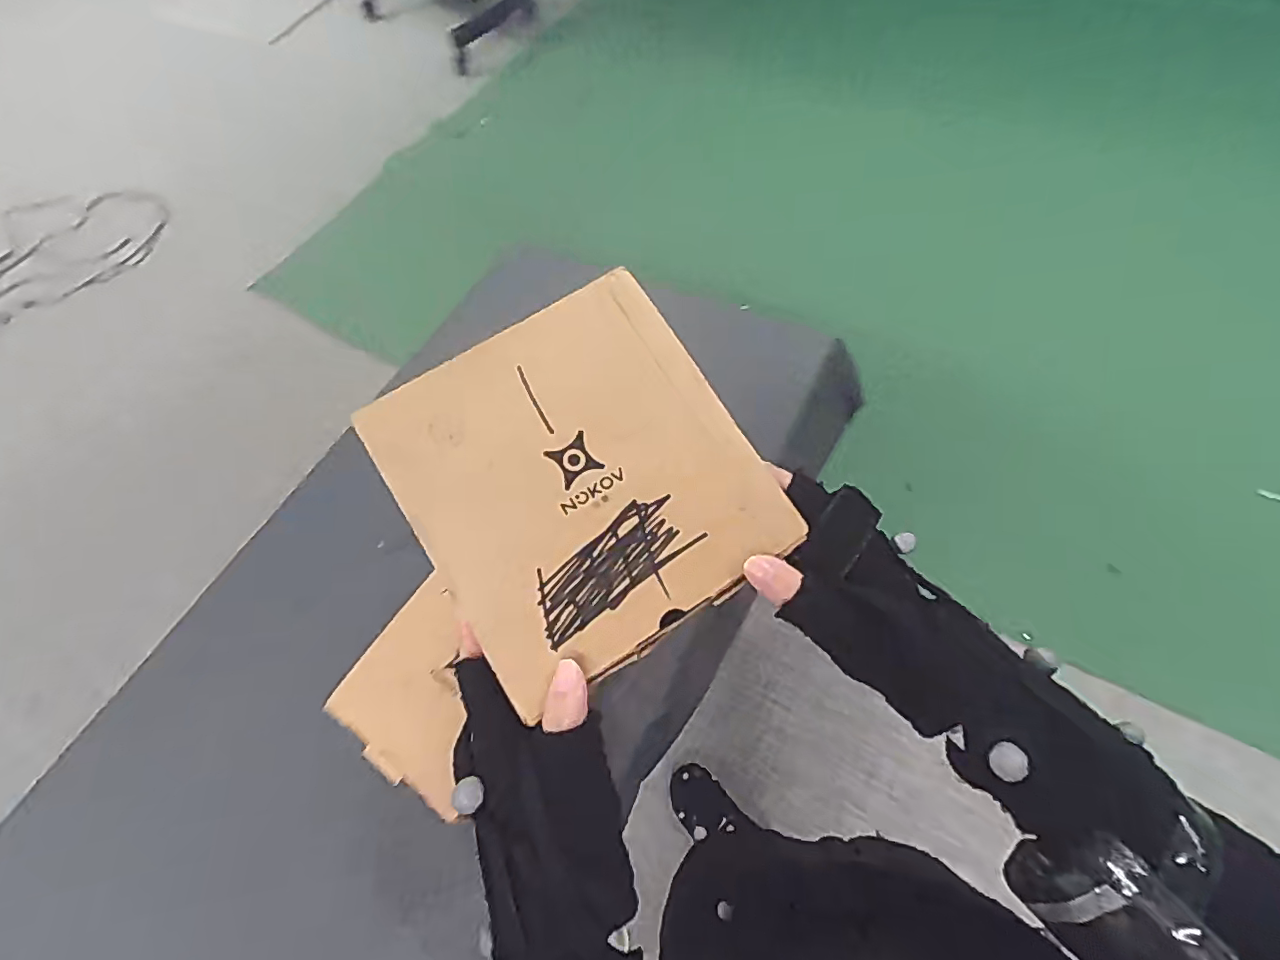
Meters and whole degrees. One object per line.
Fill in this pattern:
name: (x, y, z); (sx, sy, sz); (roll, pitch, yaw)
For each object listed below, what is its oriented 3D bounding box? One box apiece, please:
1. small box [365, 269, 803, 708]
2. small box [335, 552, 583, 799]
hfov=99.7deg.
small box: (-0.031, 0.009, 0.357); (0.168, 0.176, 0.179); (-34, 85, -8)
small box: (-0.164, 0.205, 0.574); (0.168, 0.176, 0.179); (25, 67, 20)
